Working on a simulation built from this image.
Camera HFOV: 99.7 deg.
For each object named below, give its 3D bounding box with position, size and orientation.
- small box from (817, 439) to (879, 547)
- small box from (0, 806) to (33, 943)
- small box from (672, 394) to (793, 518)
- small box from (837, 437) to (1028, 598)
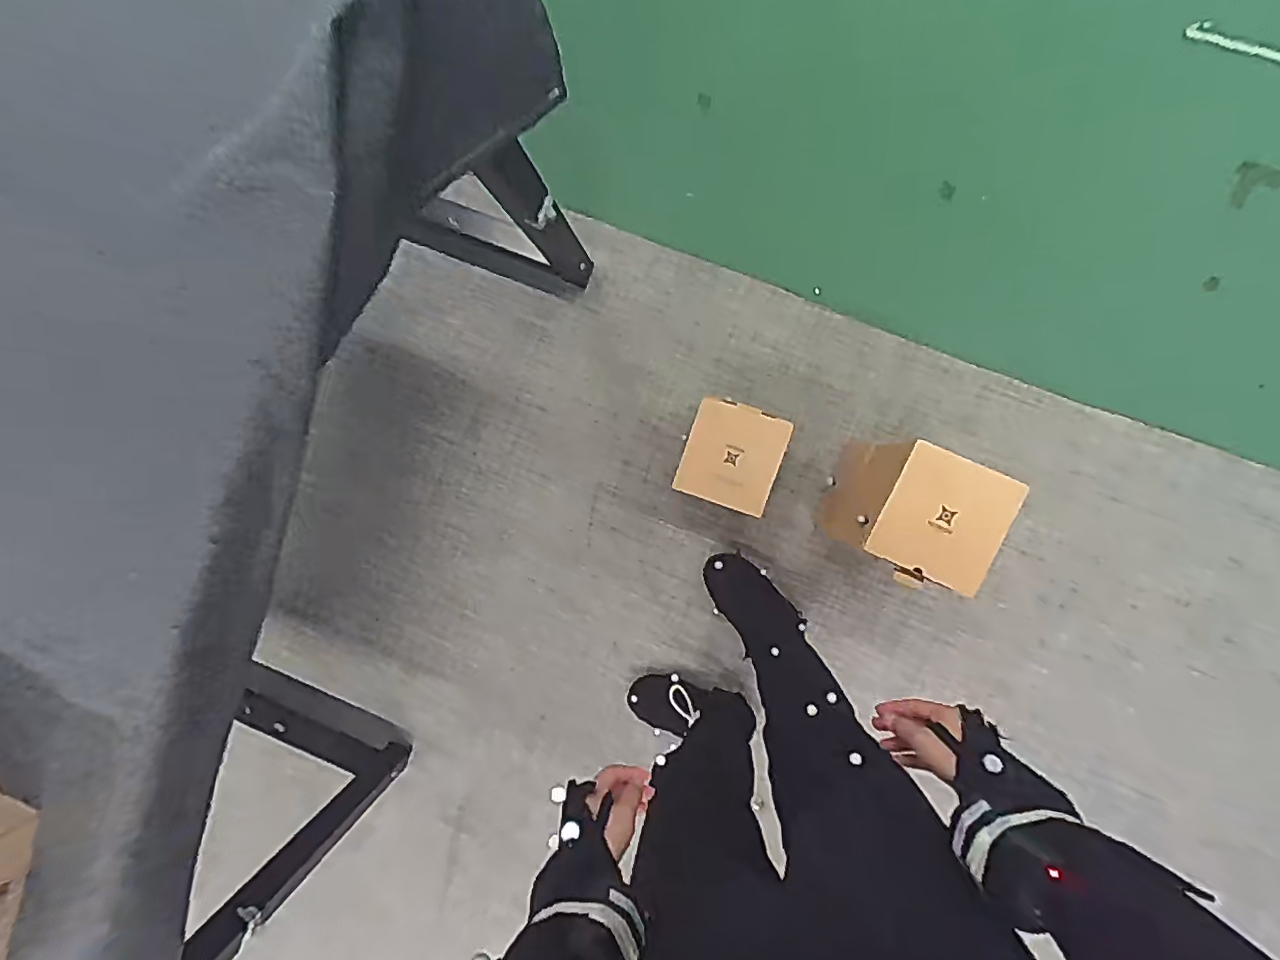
[{"bbox_3d":[0.438,0.036,0.981,0.168,0.176,0.179,23,97,3],"label":"small box"},{"bbox_3d":[-0.612,0.328,0.378,0.179,0.176,0.168,20,95,4],"label":"small box"},{"bbox_3d":[0.165,-0.047,1.006,0.168,0.176,0.179,19,96,6],"label":"small box"},{"bbox_3d":[0.423,0.046,0.818,0.168,0.176,0.179,24,96,4],"label":"small box"}]
